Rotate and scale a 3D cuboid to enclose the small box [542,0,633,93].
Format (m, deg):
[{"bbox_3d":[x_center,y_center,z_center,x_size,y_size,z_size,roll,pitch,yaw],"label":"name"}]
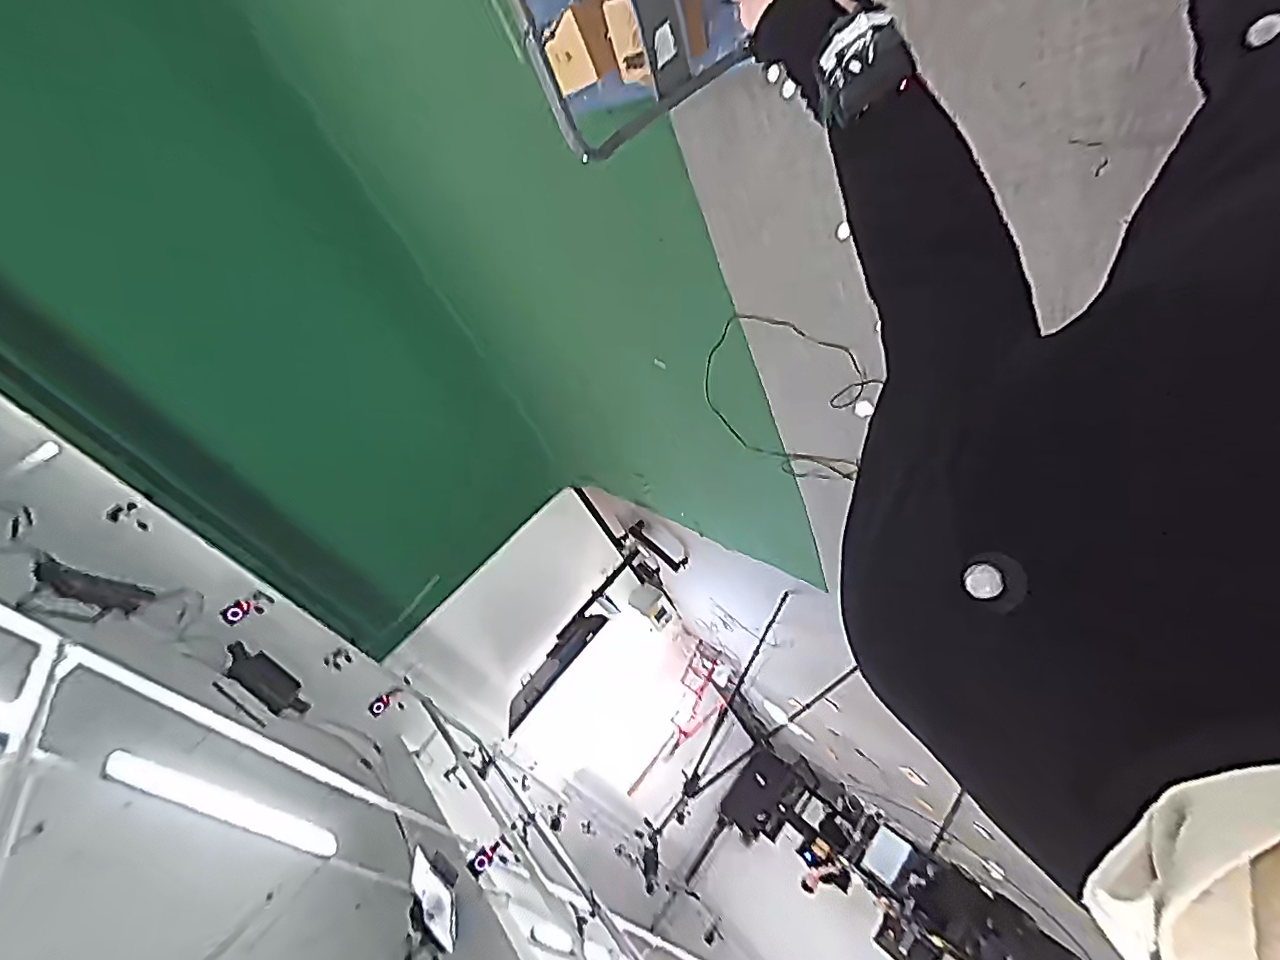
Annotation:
[{"bbox_3d":[-0.141,-1.256,1.552,0.179,0.176,0.168,21,149,46],"label":"small box"}]
